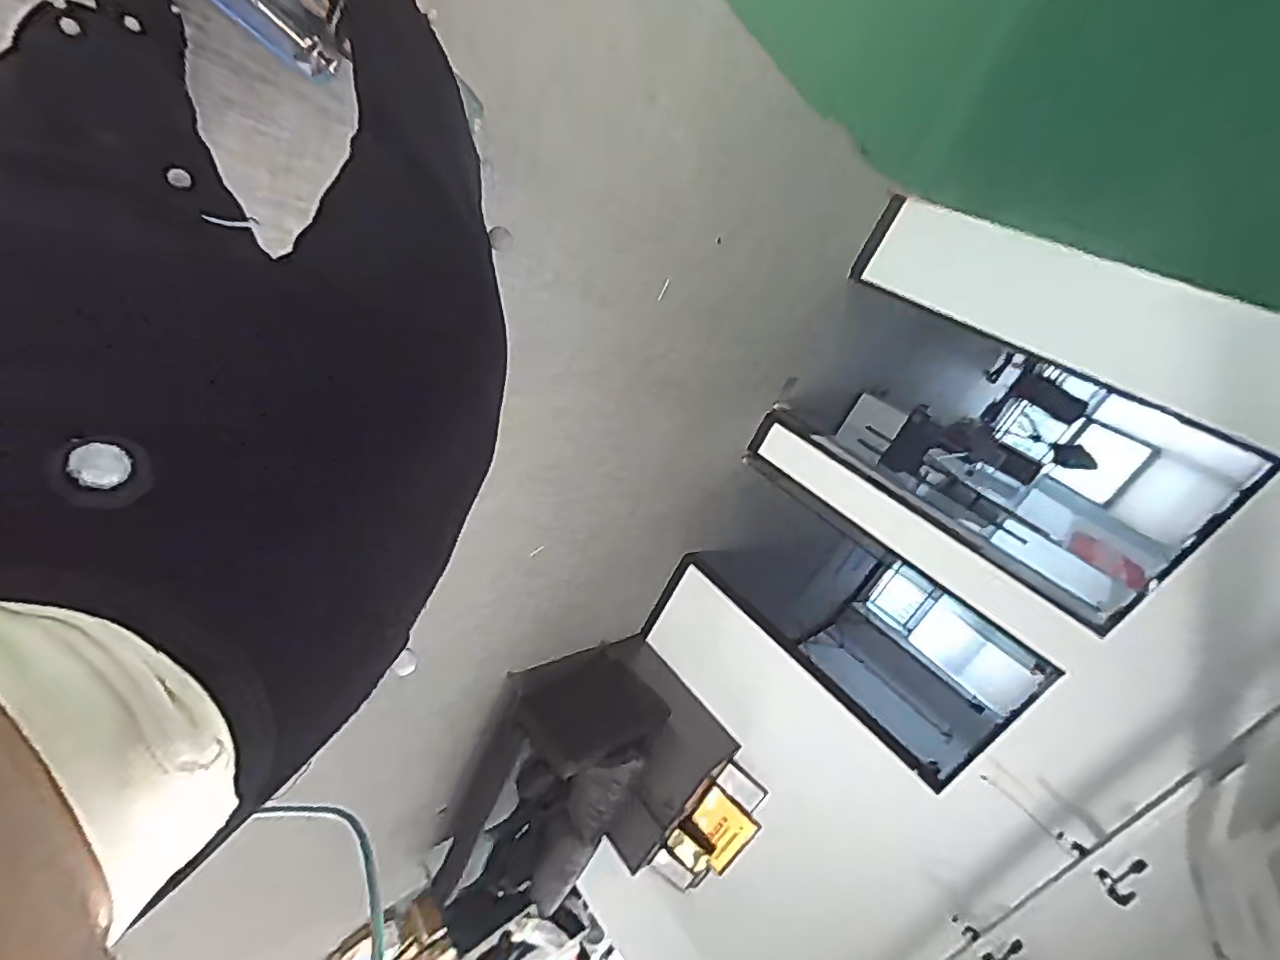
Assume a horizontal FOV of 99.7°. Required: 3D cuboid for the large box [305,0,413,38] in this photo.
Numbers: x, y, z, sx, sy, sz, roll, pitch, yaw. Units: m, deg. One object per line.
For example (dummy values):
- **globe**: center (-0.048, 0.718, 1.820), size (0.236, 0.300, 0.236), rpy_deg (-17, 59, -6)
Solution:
- **large box**: center (-0.463, -0.977, 0.792), size (0.408, 0.320, 0.320), rpy_deg (-54, 148, 8)
